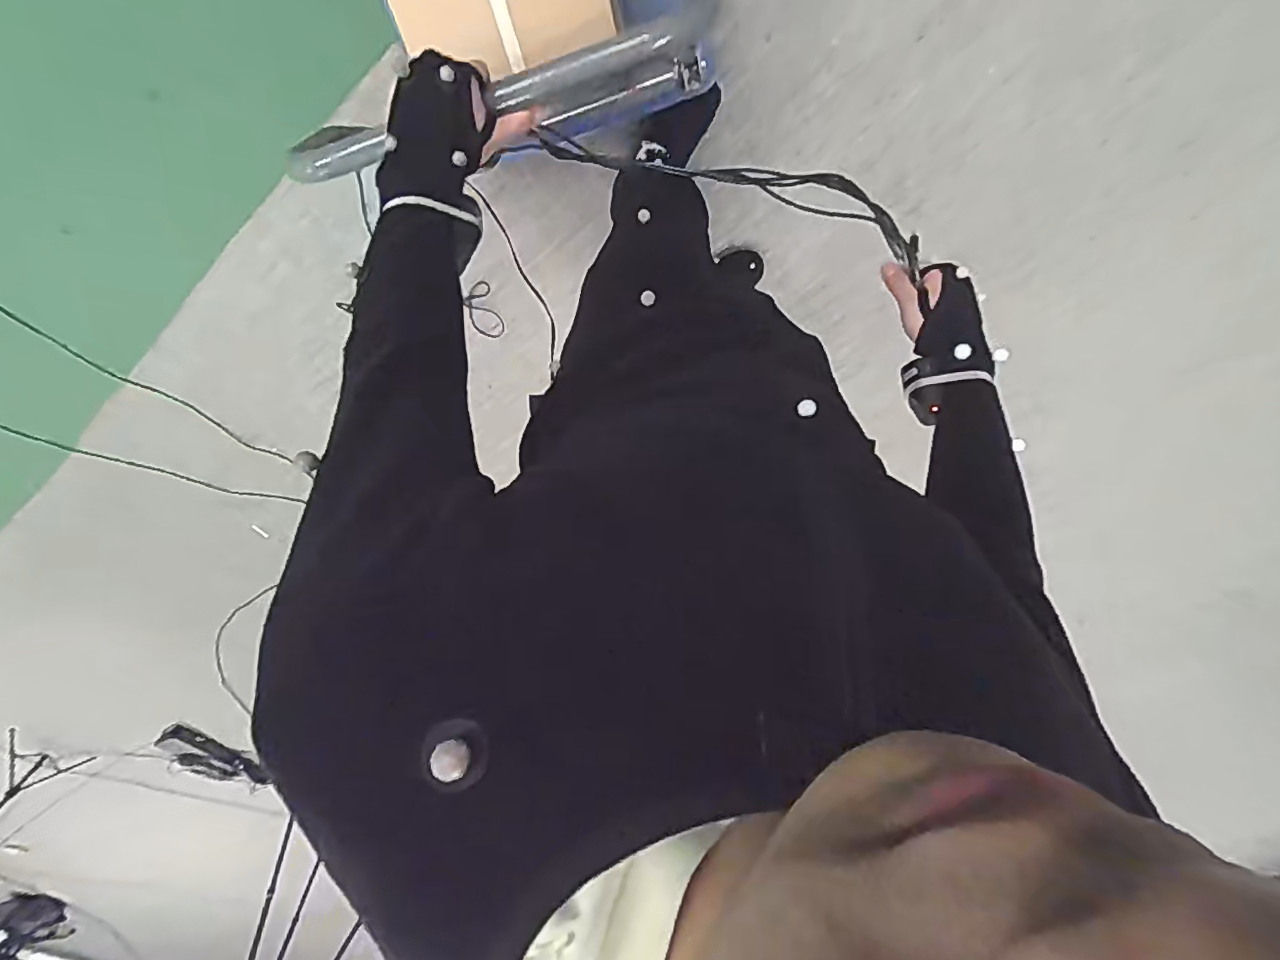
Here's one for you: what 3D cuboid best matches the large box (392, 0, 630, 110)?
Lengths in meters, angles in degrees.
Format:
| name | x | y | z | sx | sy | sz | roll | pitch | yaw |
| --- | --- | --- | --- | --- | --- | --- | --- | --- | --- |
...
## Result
| name | x | y | z | sx | sy | sz | roll | pitch | yaw |
| --- | --- | --- | --- | --- | --- | --- | --- | --- | --- |
| large box | -0.222 | -0.862 | 0.849 | 0.320 | 0.320 | 0.408 | -11 | 123 | 10 |
